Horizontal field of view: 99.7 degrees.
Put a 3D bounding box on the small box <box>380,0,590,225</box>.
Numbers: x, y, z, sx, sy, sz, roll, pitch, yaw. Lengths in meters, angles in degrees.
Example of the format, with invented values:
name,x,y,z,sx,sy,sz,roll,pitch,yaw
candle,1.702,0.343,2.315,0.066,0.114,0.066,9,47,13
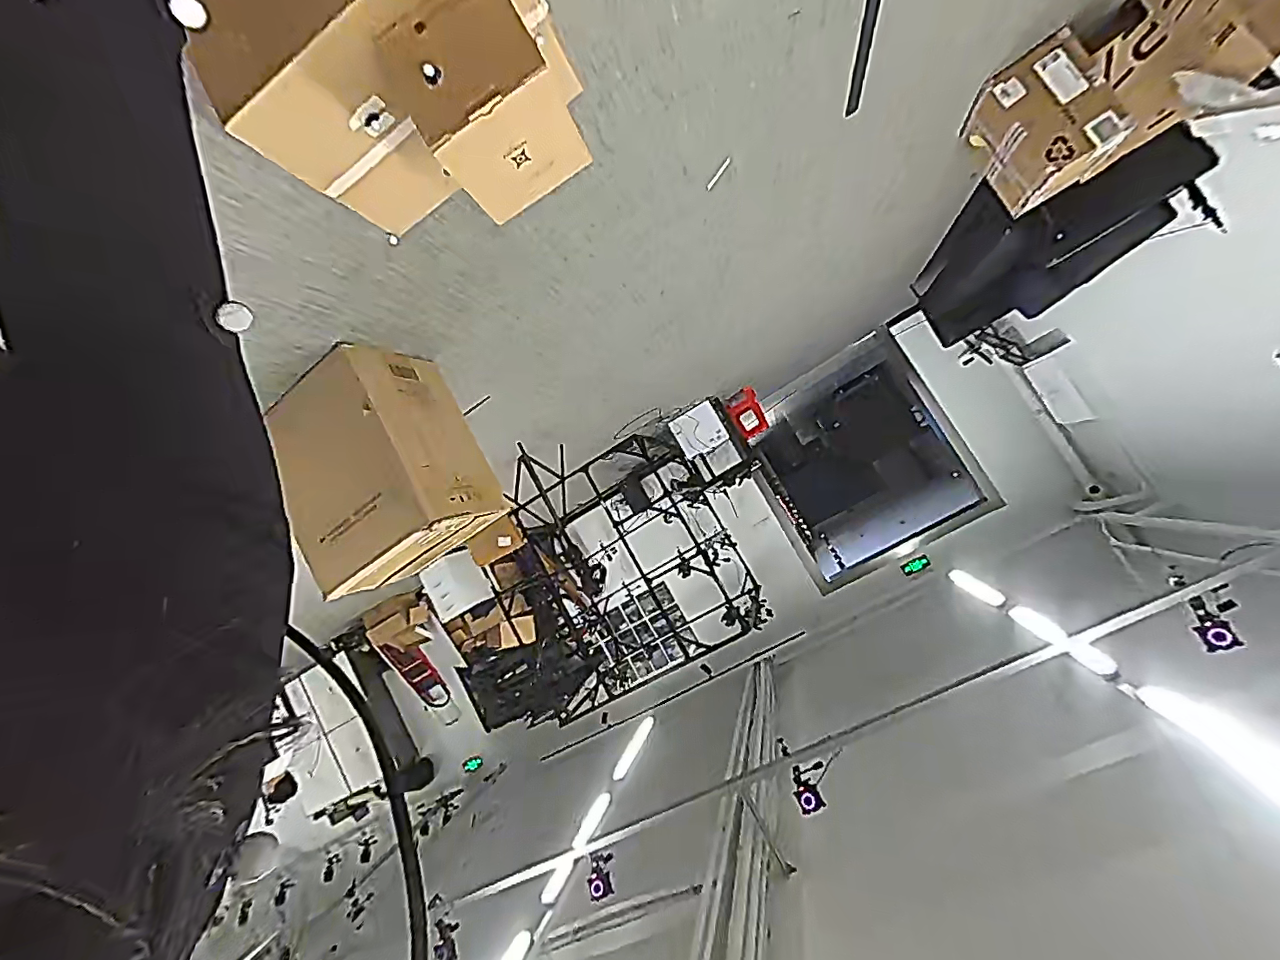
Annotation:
name,x,y,z,sx,sy,sz,roll,pitch,yaw
small box,-0.193,-0.480,0.696,0.168,0.176,0.179,-28,173,10

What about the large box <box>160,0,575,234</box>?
name,x,y,z,sx,sy,sz,roll,pitch,yaw
large box,-0.372,-0.652,0.766,0.408,0.320,0.320,-30,173,12
